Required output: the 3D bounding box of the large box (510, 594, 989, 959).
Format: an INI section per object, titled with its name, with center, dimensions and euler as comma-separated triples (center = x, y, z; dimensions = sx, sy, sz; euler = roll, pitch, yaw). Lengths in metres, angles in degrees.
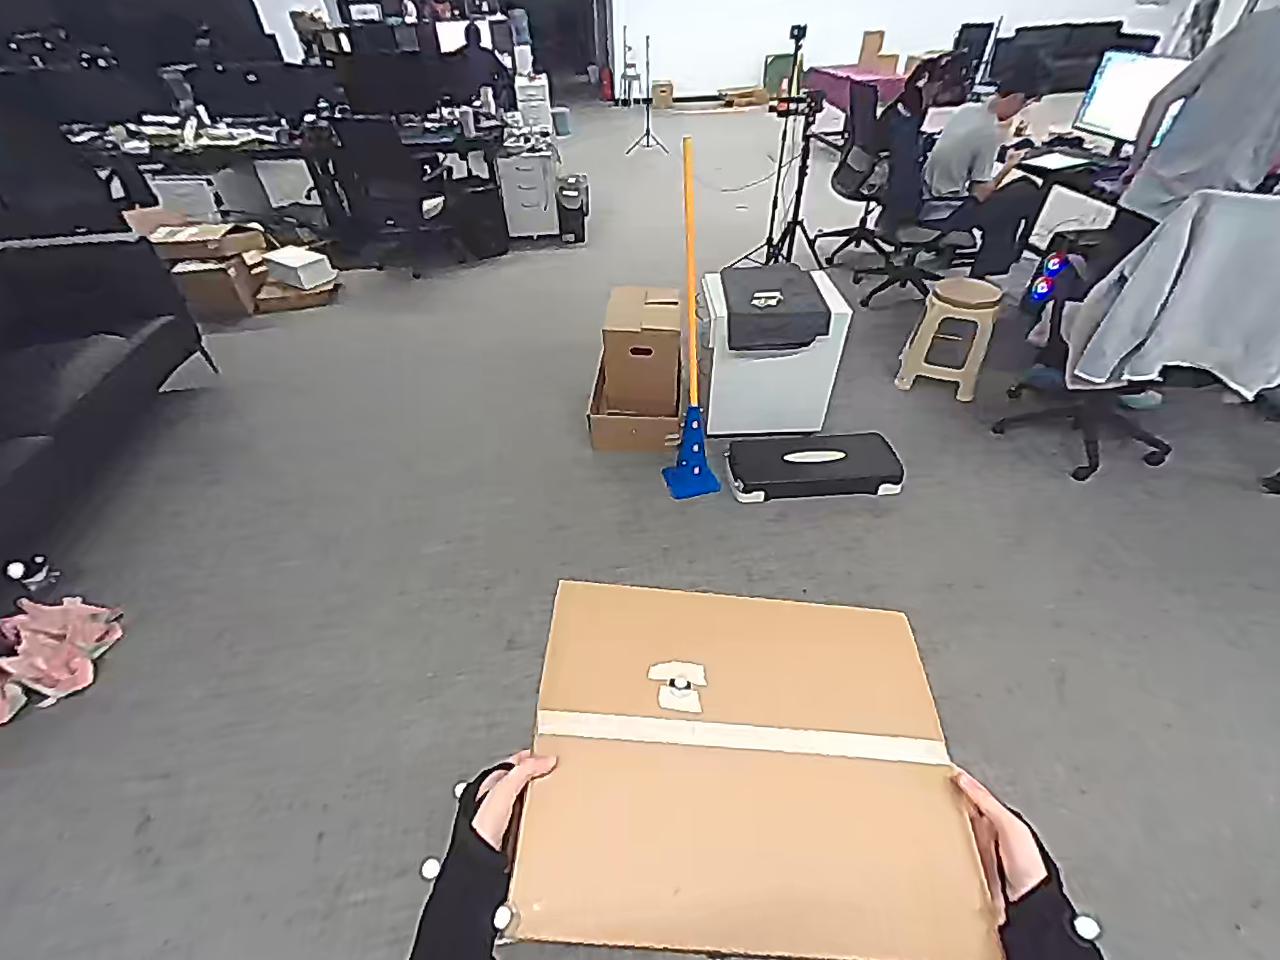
[large box]
center = 0.089, 0.356, 0.647
dimensions = 0.408, 0.320, 0.320
euler = 5, 49, -2
